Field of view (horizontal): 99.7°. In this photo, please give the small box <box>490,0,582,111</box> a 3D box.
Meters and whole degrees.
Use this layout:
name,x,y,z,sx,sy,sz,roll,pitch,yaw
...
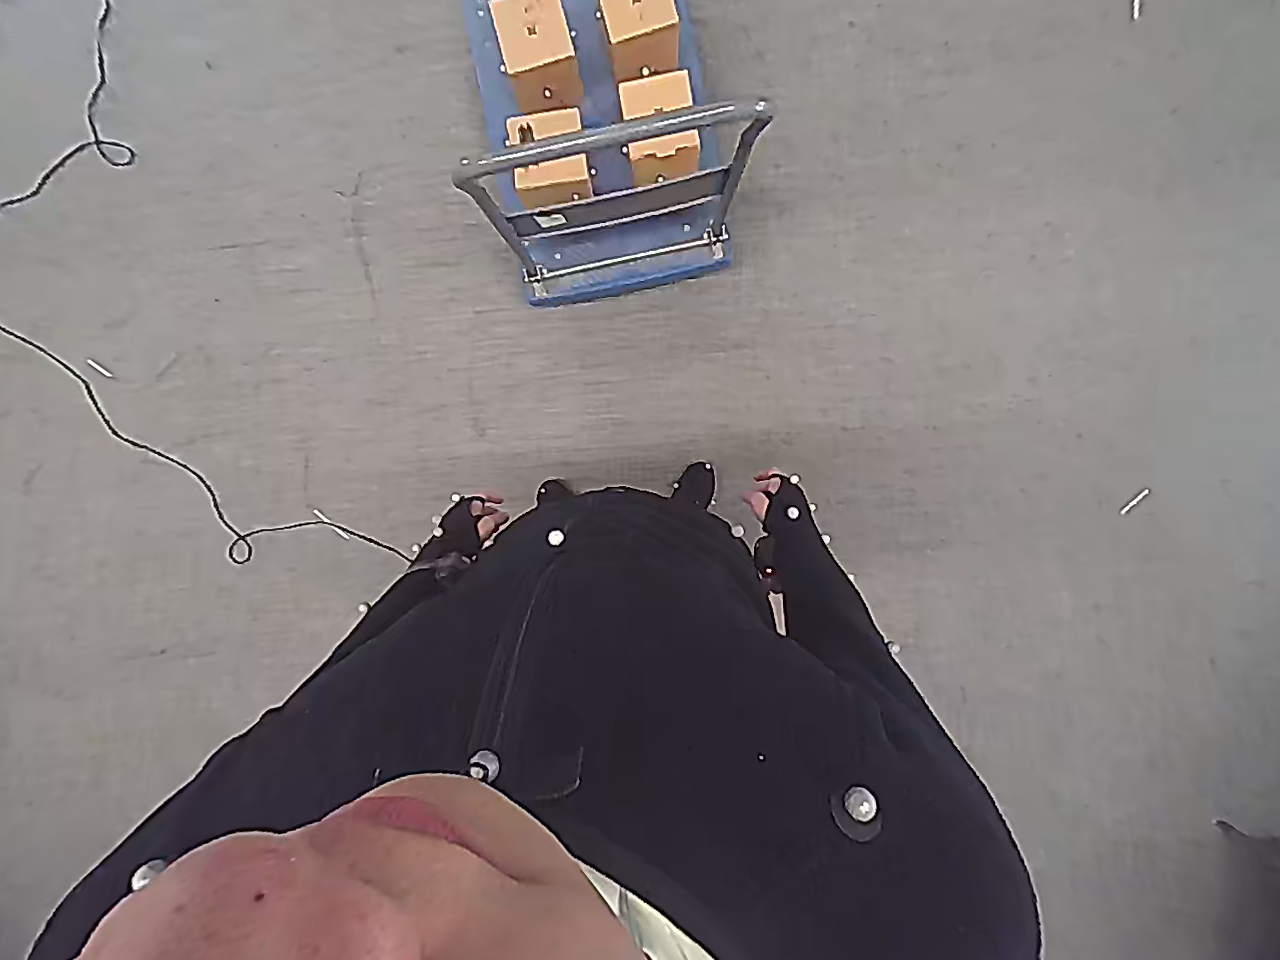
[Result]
name,x,y,z,sx,sy,sz,roll,pitch,yaw
small box,-0.252,-1.061,1.347,0.168,0.176,0.179,-15,92,2

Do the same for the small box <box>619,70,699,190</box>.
name,x,y,z,sx,sy,sz,roll,pitch,yaw
small box,0.046,-0.863,1.347,0.168,0.176,0.179,-11,93,3

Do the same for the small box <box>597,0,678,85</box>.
name,x,y,z,sx,sy,sz,roll,pitch,yaw
small box,-0.009,-1.128,1.333,0.168,0.176,0.179,-15,93,4
